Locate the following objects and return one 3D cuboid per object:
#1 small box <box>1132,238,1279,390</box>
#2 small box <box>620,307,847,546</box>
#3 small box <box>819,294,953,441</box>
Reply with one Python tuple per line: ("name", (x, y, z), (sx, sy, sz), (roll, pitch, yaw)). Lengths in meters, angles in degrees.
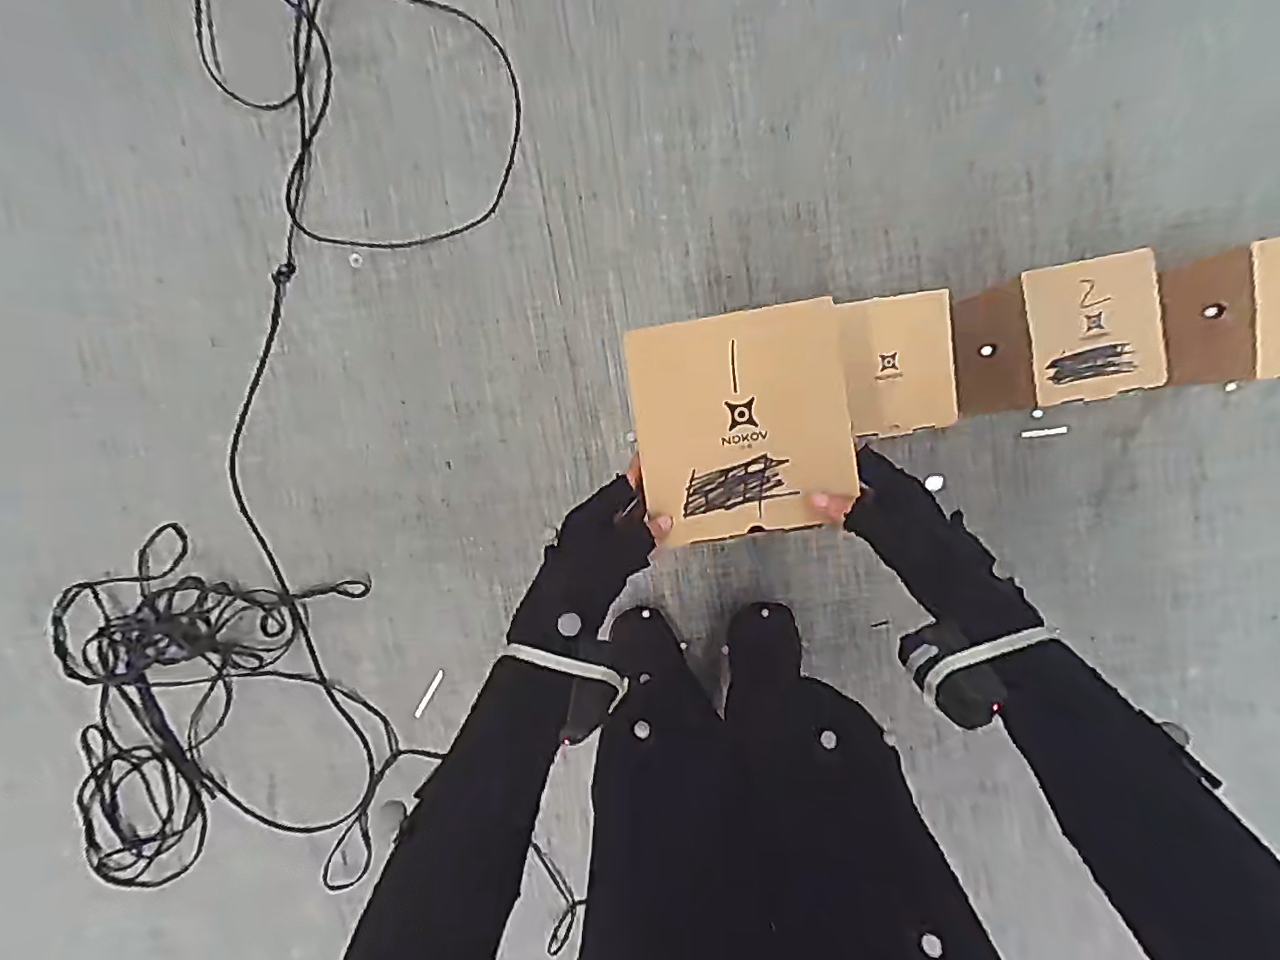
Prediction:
("small box", (0.846, -0.229, 0.762), (0.168, 0.176, 0.179), (-8, 95, 3))
("small box", (0.083, -0.046, 0.518), (0.168, 0.176, 0.179), (-9, 91, 5))
("small box", (0.322, -0.152, 0.785), (0.168, 0.176, 0.179), (-8, 95, 3))
